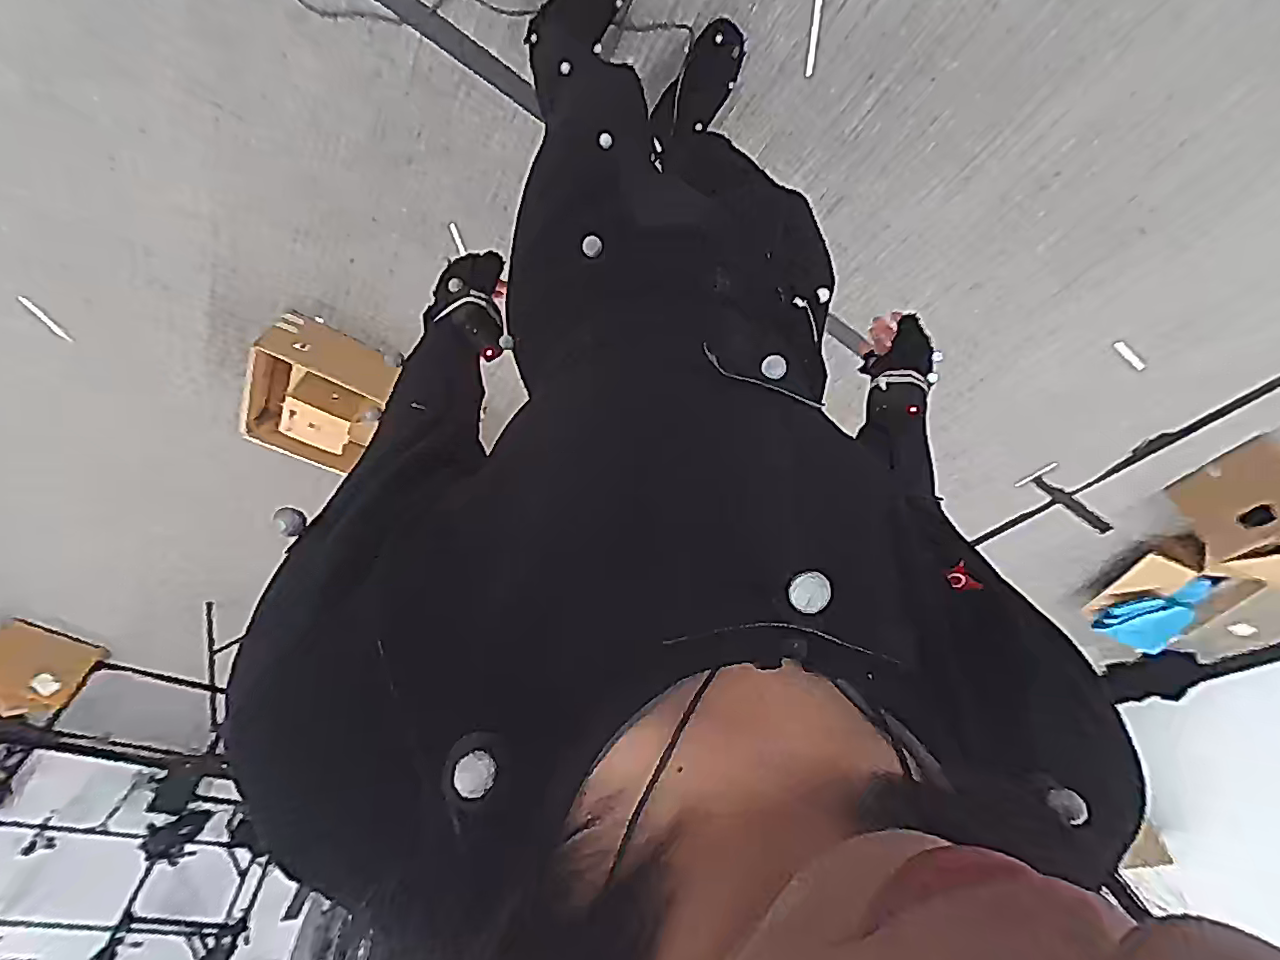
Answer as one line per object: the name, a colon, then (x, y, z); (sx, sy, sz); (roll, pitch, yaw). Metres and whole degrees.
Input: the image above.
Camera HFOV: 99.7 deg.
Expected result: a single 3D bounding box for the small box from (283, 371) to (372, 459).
small box: (-0.941, -0.201, 1.640); (0.179, 0.176, 0.168); (25, 131, -24)
